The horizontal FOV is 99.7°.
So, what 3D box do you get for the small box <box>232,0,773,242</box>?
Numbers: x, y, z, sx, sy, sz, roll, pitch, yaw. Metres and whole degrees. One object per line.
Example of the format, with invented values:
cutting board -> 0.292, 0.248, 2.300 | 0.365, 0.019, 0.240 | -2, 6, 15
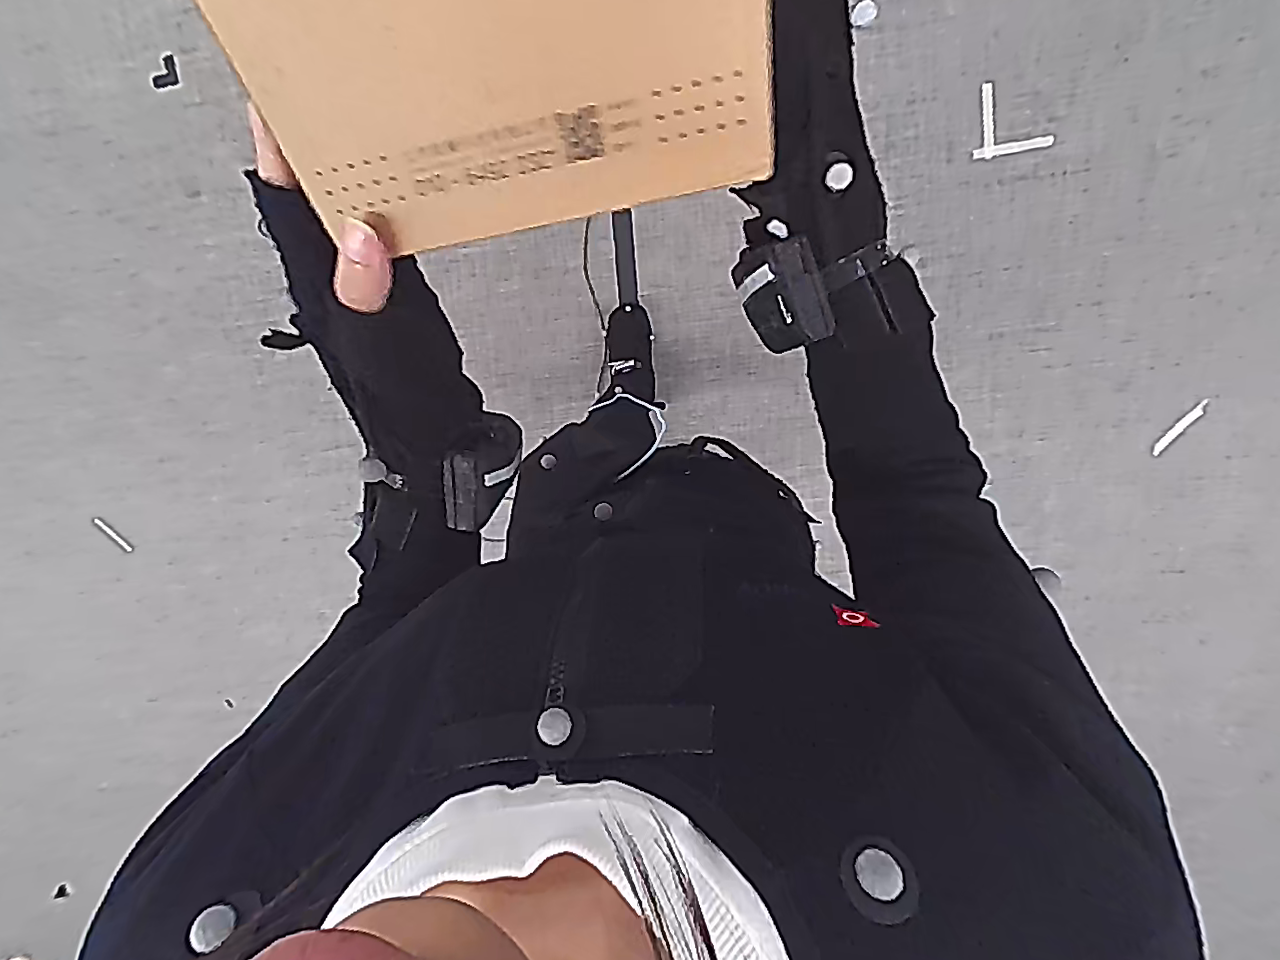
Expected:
small box -> -0.044, -0.210, 0.211 | 0.168, 0.179, 0.176 | -8, 134, 8
